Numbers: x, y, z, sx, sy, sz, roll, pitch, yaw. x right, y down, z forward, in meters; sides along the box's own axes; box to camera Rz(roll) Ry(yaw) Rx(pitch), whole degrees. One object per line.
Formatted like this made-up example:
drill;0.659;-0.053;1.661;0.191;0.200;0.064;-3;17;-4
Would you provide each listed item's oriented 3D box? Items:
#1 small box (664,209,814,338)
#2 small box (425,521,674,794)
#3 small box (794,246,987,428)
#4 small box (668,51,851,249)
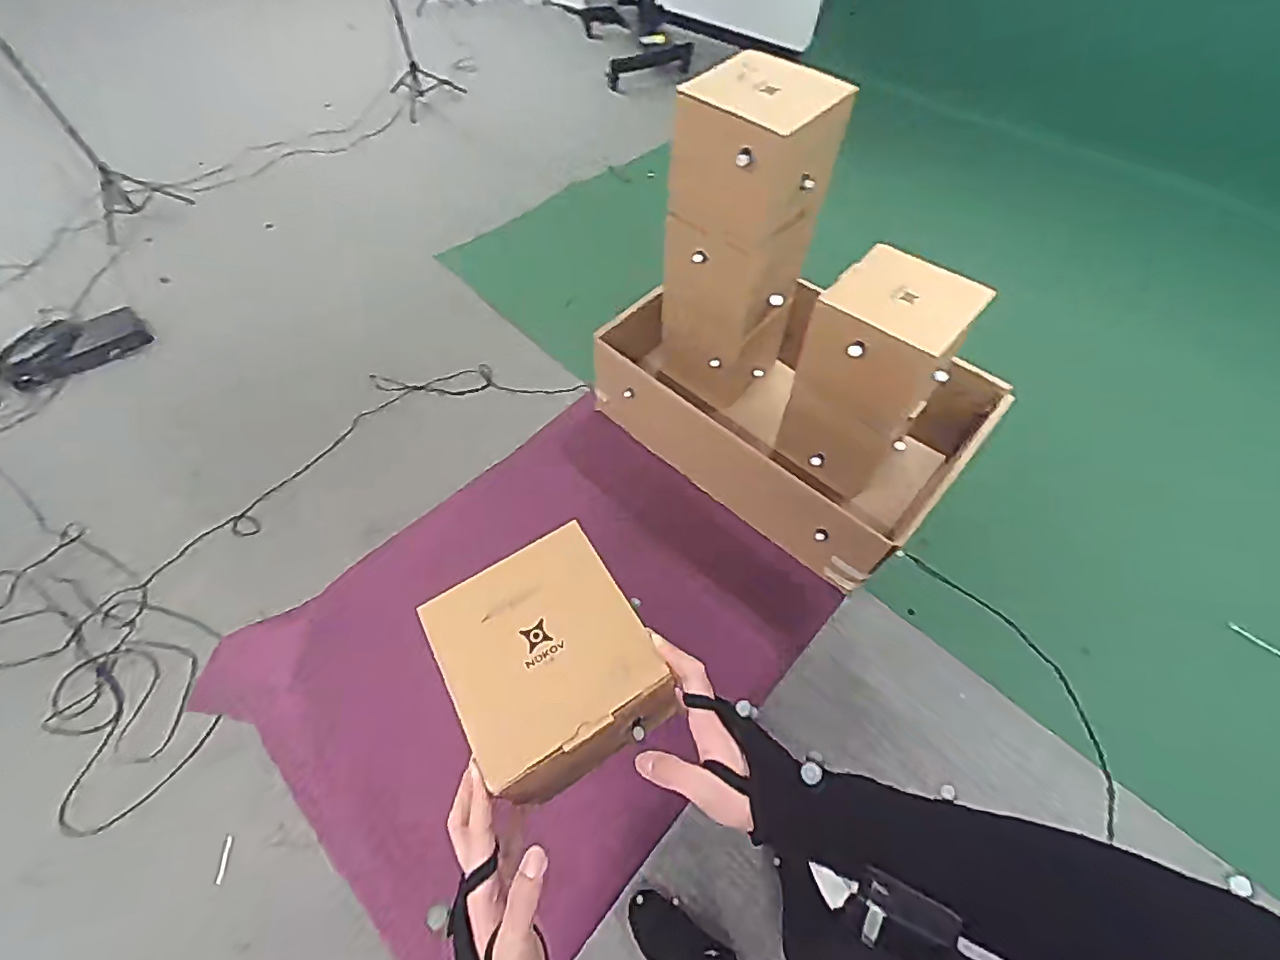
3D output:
small box;0.154;-0.372;0.905;0.179;0.176;0.168;37;66;20
small box;-0.077;0.179;0.532;0.168;0.176;0.179;-29;60;-14
small box;0.355;-0.202;0.797;0.179;0.176;0.168;37;66;24
small box;0.156;-0.457;0.764;0.179;0.176;0.168;38;65;21
